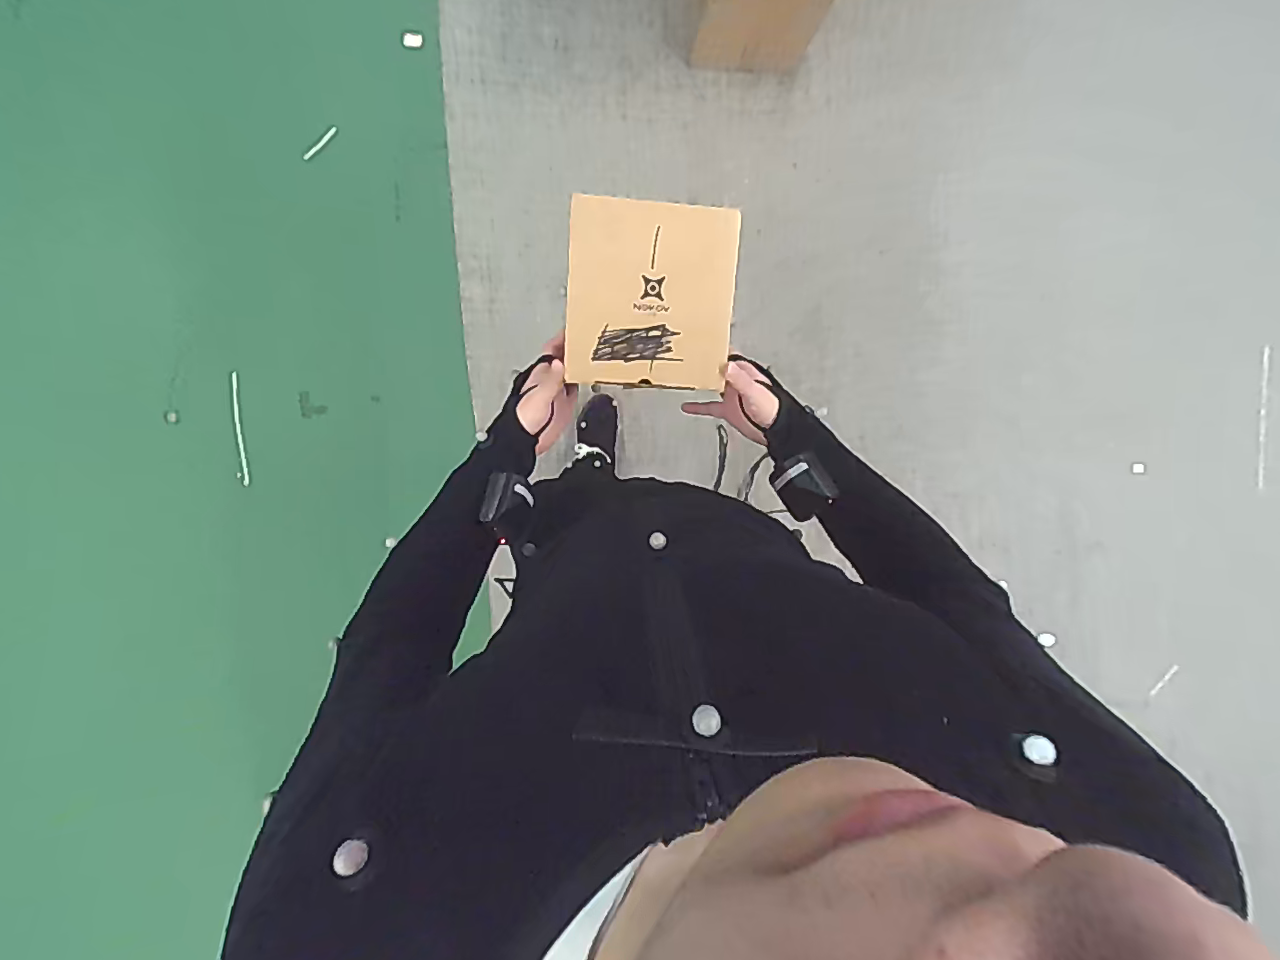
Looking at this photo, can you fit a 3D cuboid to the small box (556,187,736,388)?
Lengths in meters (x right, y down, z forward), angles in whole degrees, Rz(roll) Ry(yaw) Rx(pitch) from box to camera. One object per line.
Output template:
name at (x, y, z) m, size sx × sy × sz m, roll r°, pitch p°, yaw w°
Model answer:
small box at (0.000, -0.200, 0.606) m, size 0.168 × 0.176 × 0.179 m, roll 3°, pitch 101°, yaw -5°
